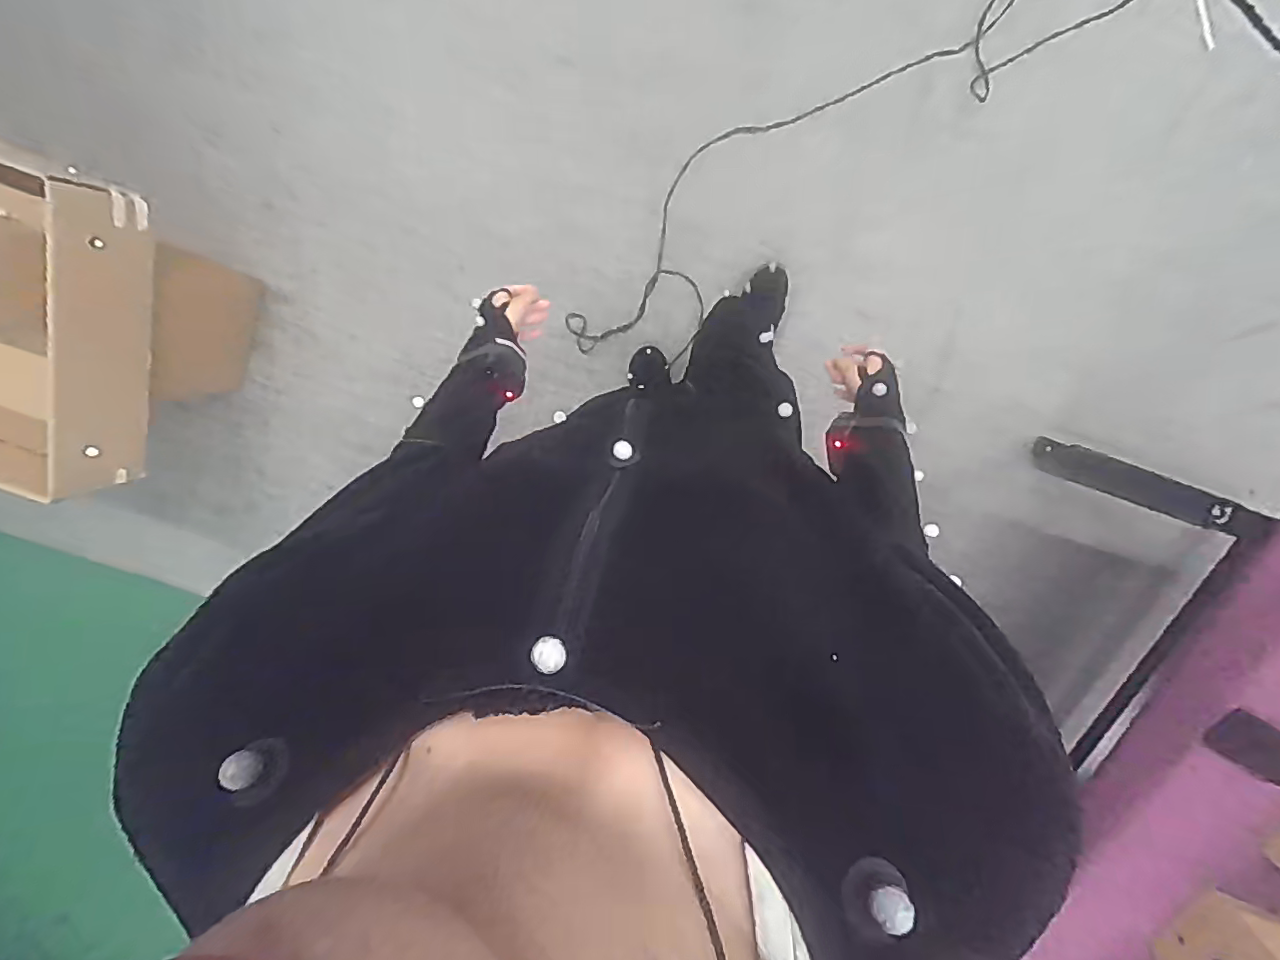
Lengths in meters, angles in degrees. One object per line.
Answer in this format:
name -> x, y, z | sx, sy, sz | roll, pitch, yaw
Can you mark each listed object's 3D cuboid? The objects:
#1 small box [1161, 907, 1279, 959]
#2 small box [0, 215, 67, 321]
small box -> 0.991, 0.817, 0.839 | 0.179, 0.176, 0.168 | 23, 108, -3
small box -> -1.202, -0.389, 0.967 | 0.179, 0.176, 0.168 | 22, 109, -2
